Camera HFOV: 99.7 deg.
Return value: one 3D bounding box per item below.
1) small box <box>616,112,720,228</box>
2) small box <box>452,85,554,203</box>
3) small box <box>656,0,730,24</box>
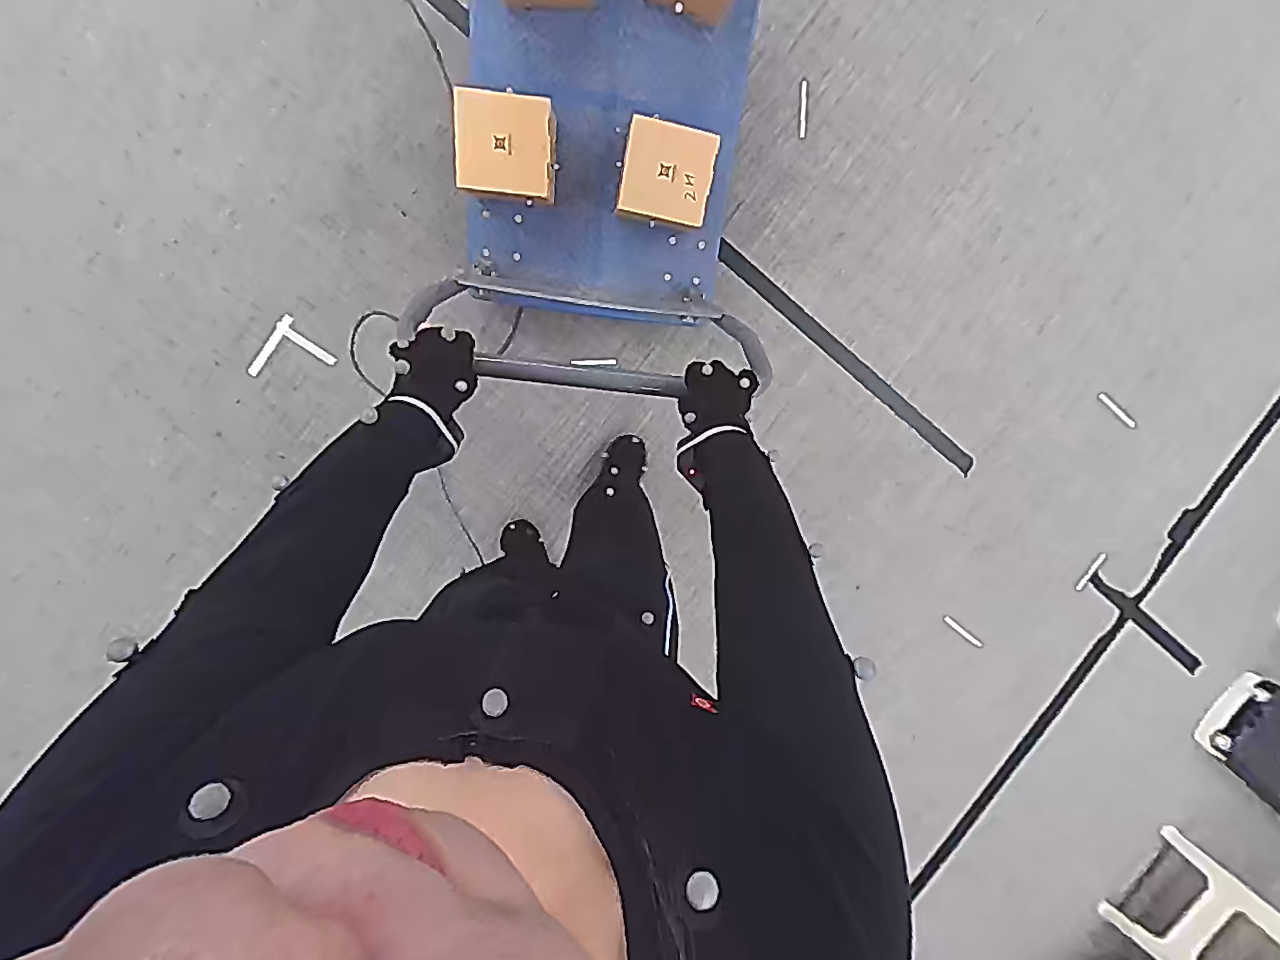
[{"bbox_3d":[0.048,-0.630,1.122,0.179,0.176,0.168,9,111,-9],"label":"small box"},{"bbox_3d":[-0.265,-0.659,1.080,0.179,0.176,0.168,2,112,-8],"label":"small box"},{"bbox_3d":[0.110,-0.991,0.983,0.168,0.176,0.179,15,111,-11],"label":"small box"}]
